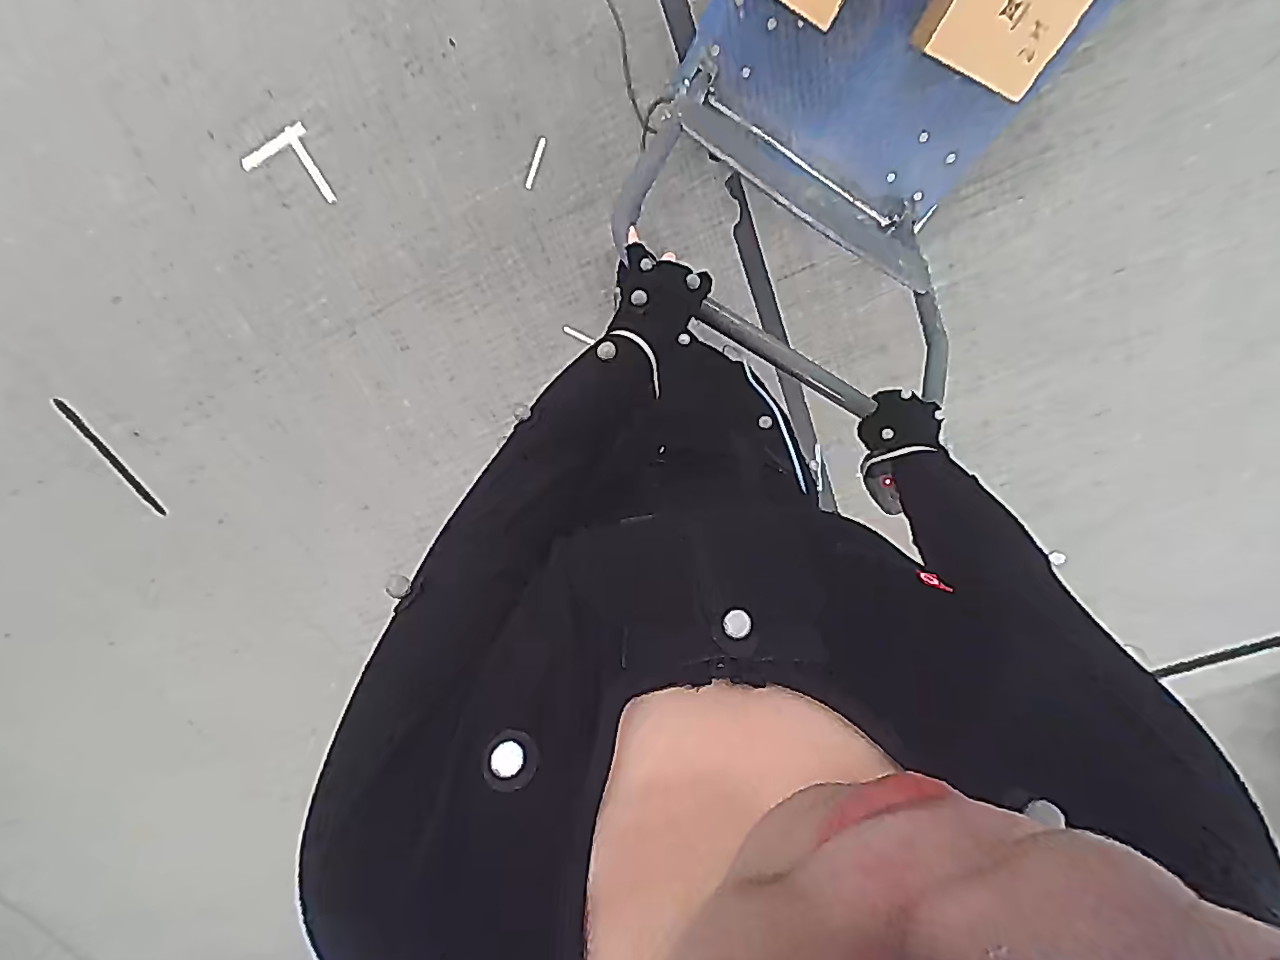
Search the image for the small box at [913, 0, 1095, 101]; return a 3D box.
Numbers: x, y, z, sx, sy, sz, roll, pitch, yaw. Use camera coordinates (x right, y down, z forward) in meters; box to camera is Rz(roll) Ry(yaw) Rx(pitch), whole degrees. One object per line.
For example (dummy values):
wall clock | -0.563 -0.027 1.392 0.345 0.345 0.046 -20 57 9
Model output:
small box | 0.554 -0.725 0.832 0.179 0.176 0.168 24 135 -6
